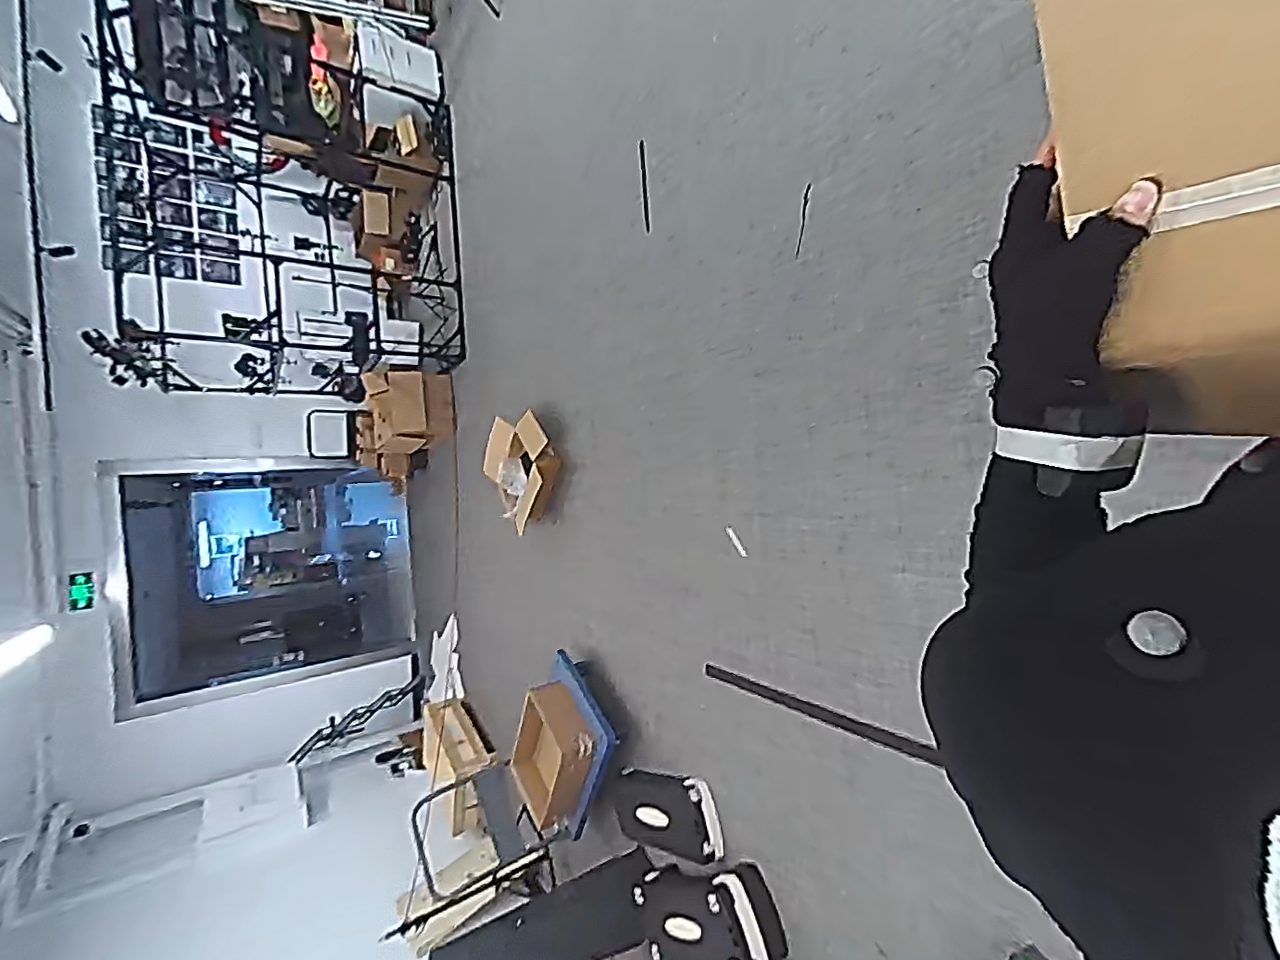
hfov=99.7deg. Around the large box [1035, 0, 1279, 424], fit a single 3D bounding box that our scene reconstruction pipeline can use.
[{"bbox_3d":[0.484,-0.237,0.242,0.408,0.320,0.320,10,139,54],"label":"large box"}]
